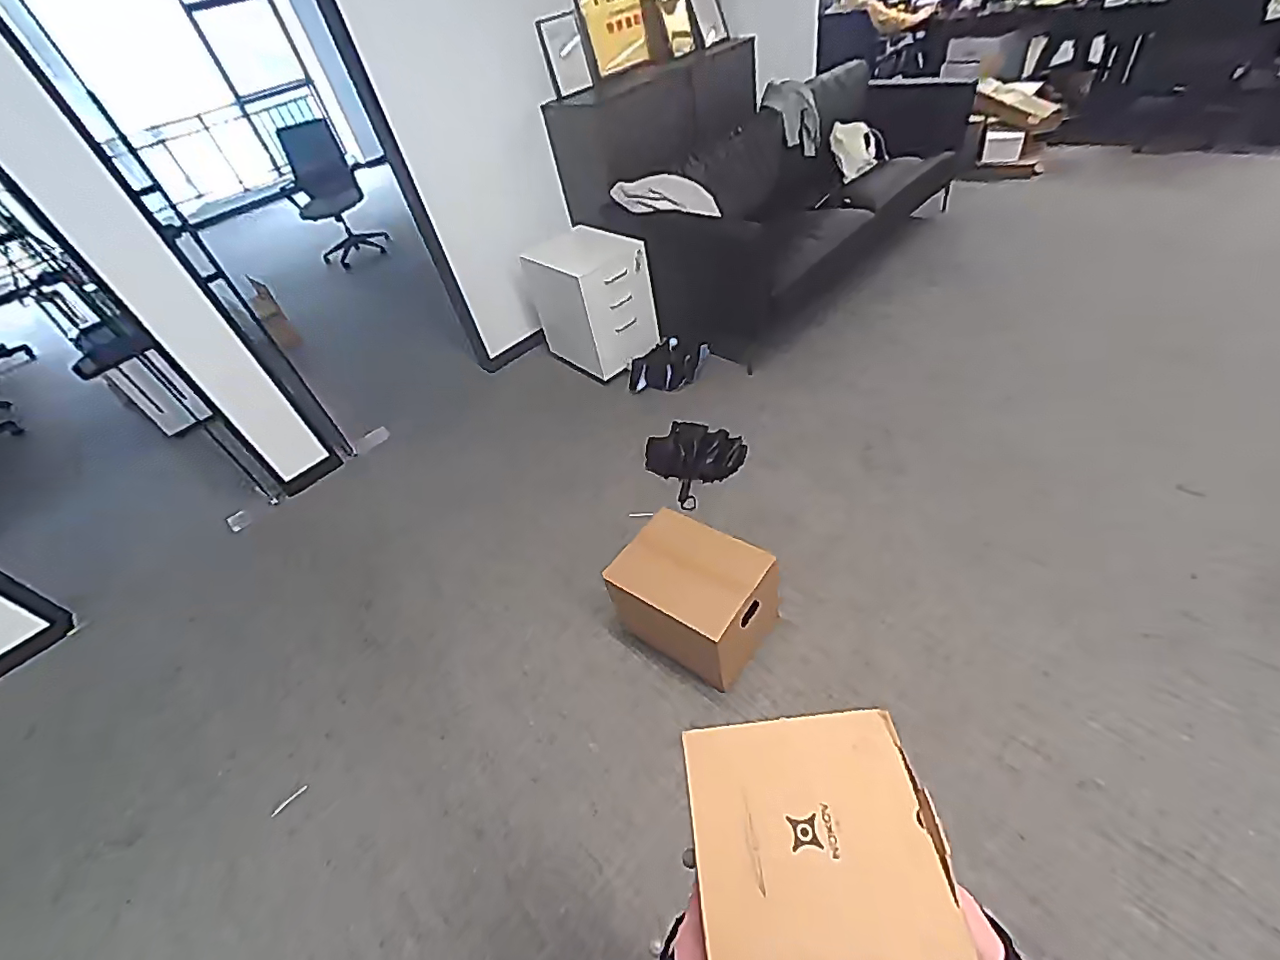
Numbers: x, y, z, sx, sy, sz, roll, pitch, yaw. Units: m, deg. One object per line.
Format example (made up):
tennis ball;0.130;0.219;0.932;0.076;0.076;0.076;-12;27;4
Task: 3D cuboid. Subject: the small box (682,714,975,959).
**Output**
small box;0.137;0.320;0.460;0.179;0.176;0.168;-9;45;4
